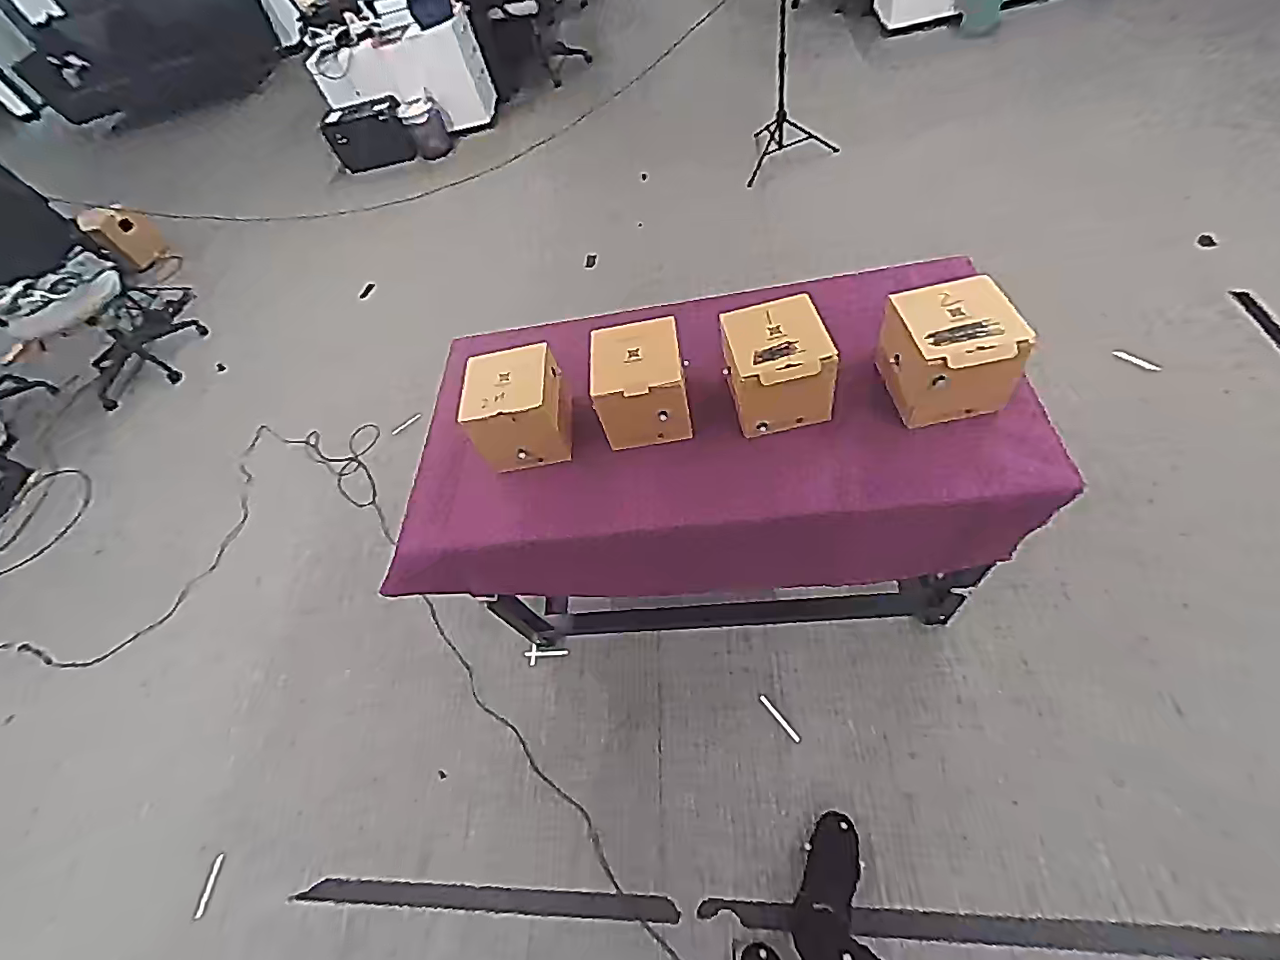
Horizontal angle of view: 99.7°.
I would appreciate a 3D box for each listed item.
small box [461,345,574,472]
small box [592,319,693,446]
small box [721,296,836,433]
[{"bbox_3d":[-0.237,-0.140,1.094,0.168,0.176,0.179,-10,56,8],"label":"small box"},{"bbox_3d":[0.008,-0.182,1.063,0.168,0.176,0.179,-8,55,8],"label":"small box"},{"bbox_3d":[0.255,-0.206,1.014,0.168,0.176,0.179,-13,54,5],"label":"small box"}]
